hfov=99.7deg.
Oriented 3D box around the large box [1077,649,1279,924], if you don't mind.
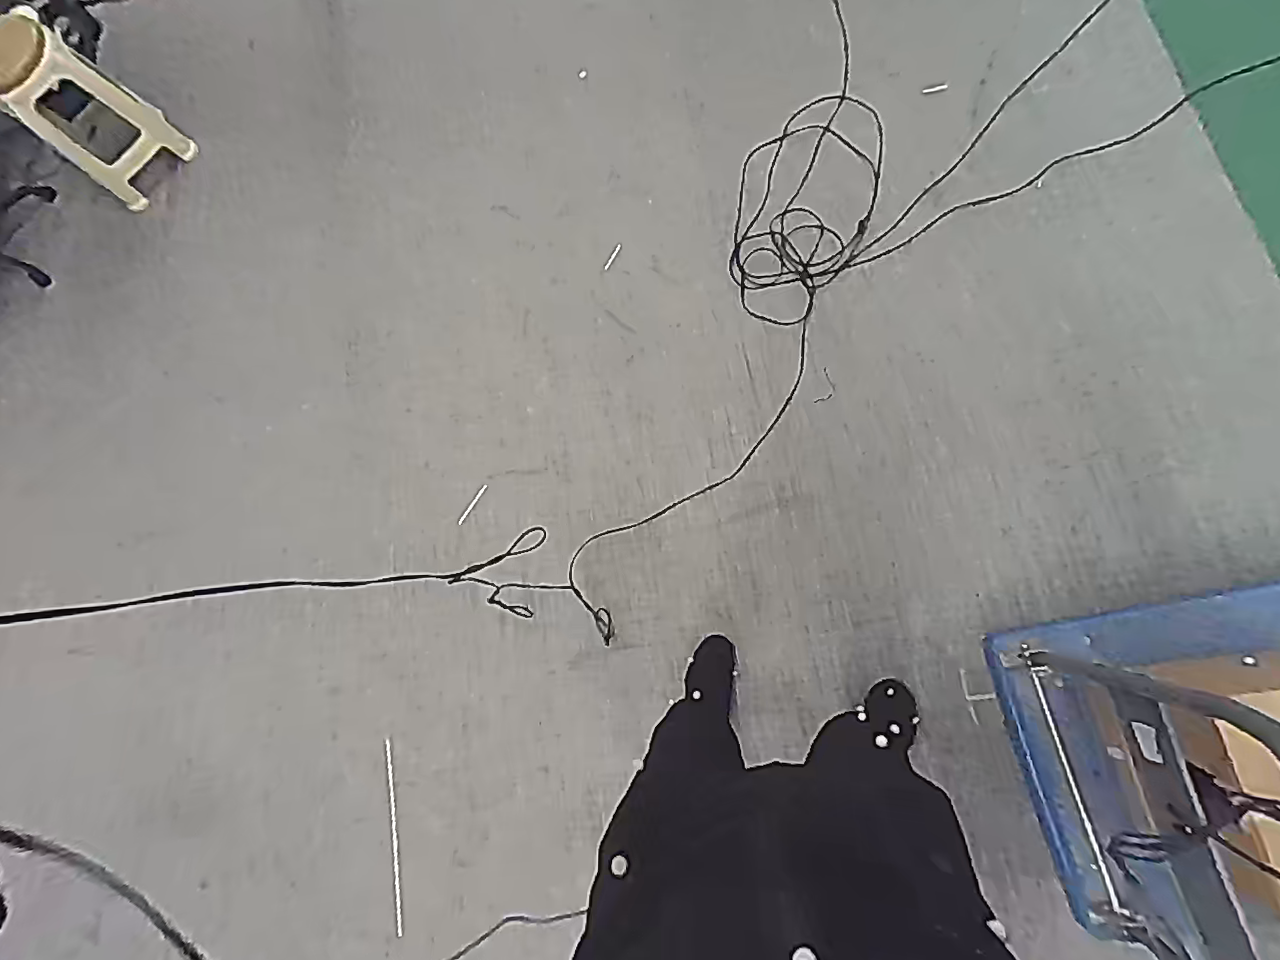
[{"bbox_3d":[1.094,0.483,0.920,0.408,0.320,0.320,-11,76,7],"label":"large box"}]
